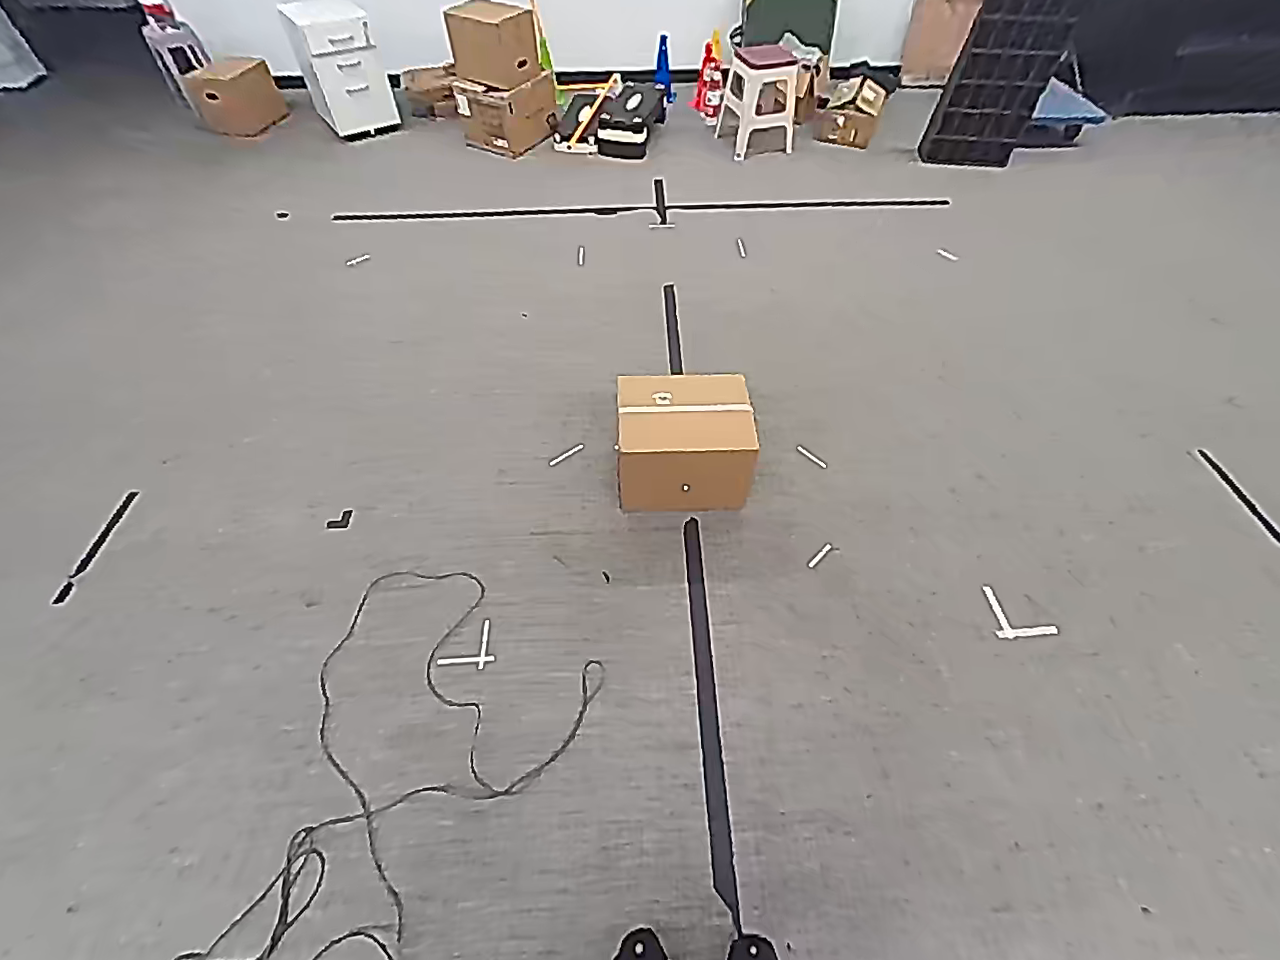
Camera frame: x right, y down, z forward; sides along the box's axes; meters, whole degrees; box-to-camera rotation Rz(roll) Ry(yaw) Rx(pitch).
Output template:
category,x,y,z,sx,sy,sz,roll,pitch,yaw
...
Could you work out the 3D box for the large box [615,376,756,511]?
category,x,y,z,sx,sy,sz,roll,pitch,yaw
large box,0.131,-0.112,1.746,0.408,0.320,0.320,-2,53,-1
